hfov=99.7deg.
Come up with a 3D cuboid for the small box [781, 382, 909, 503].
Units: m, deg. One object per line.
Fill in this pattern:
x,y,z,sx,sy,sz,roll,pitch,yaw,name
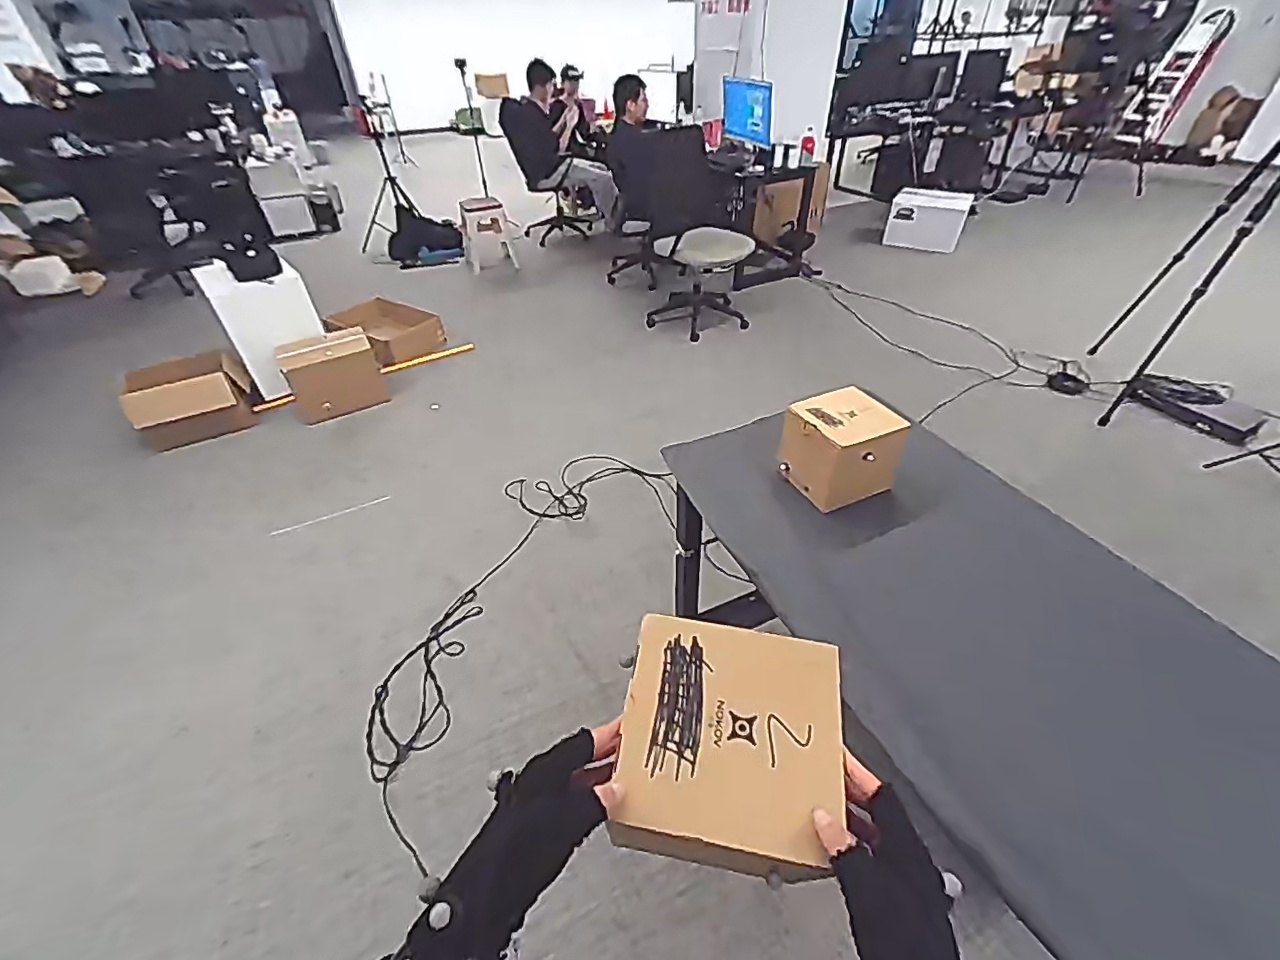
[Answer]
0.411,-0.076,1.122,0.179,0.176,0.168,-17,43,-18,small box
